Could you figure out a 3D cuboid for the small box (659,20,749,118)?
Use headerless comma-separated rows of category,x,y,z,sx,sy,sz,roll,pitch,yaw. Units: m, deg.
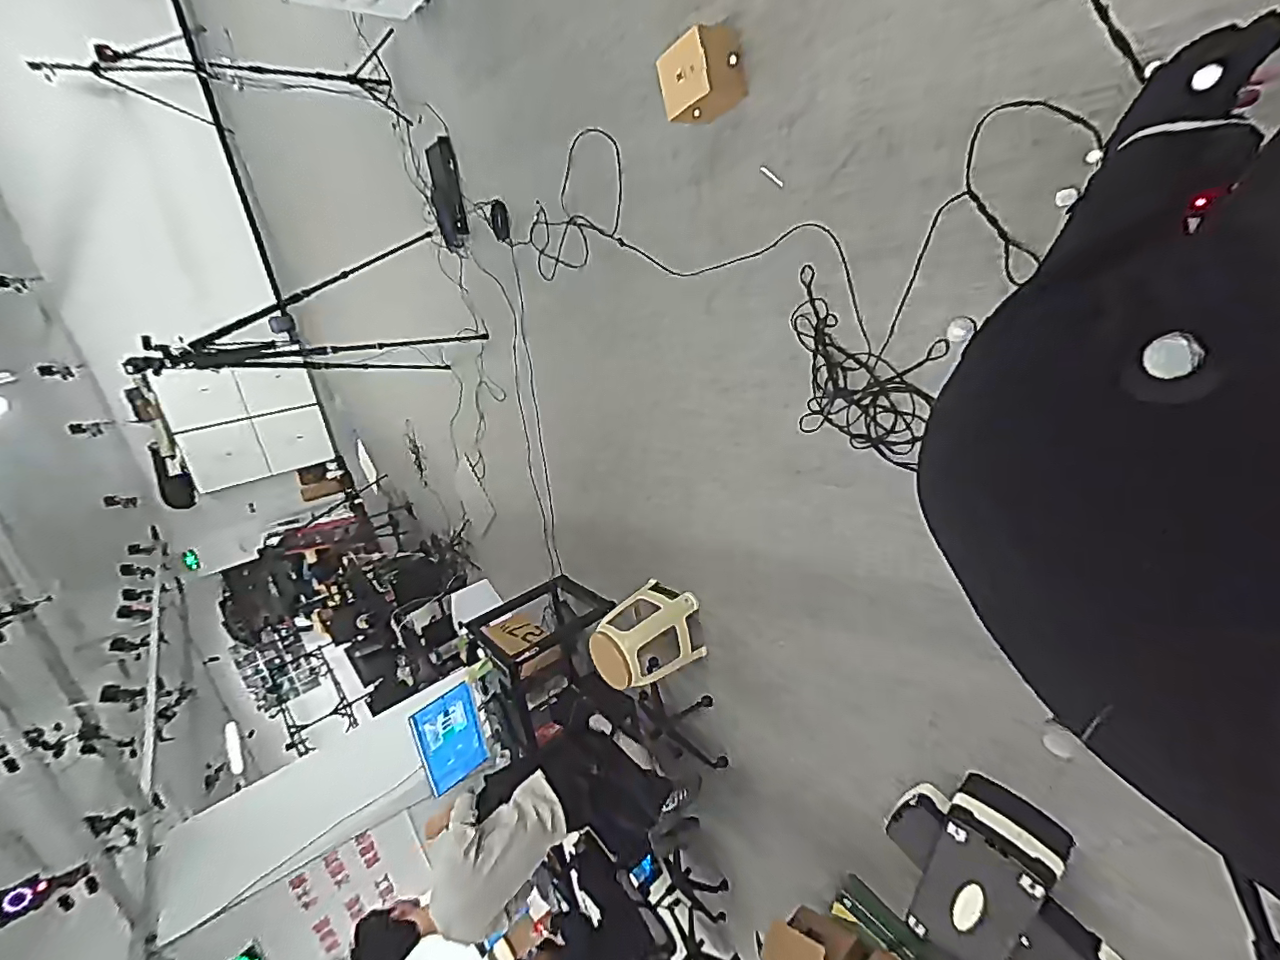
small box,0.187,-1.177,1.565,0.179,0.176,0.168,2,112,53
